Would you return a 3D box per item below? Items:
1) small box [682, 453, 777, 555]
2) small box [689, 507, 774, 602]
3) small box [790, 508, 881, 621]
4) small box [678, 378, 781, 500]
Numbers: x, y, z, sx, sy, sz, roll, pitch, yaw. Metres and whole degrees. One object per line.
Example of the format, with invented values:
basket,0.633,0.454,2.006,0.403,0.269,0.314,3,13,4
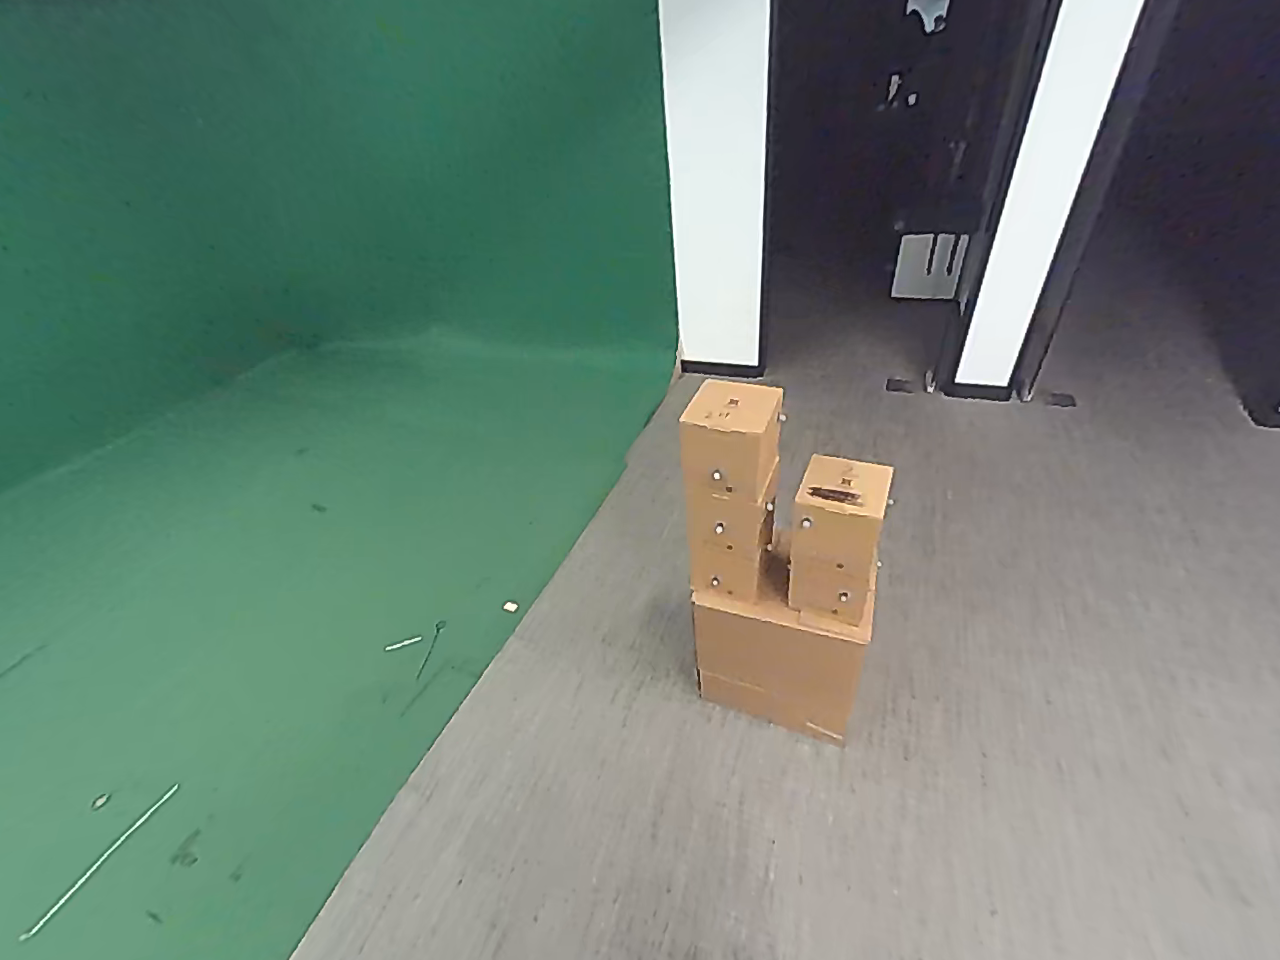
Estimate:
small box,0.205,0.043,1.218,0.168,0.176,0.179,12,44,21
small box,0.224,0.166,1.324,0.168,0.176,0.179,11,43,21
small box,0.447,0.195,1.245,0.168,0.176,0.179,11,41,24
small box,0.186,-0.086,1.116,0.168,0.176,0.179,11,43,22
